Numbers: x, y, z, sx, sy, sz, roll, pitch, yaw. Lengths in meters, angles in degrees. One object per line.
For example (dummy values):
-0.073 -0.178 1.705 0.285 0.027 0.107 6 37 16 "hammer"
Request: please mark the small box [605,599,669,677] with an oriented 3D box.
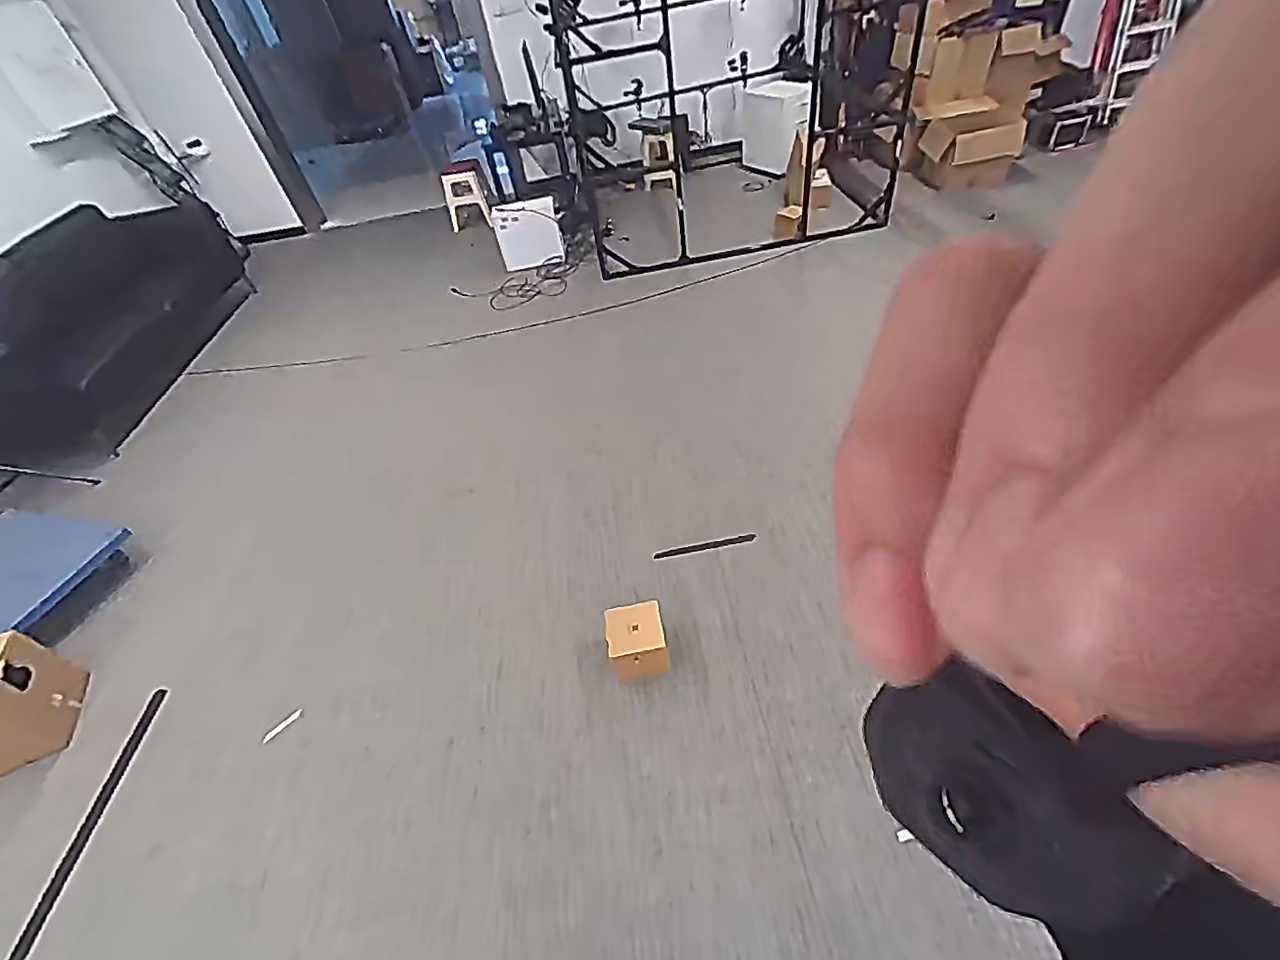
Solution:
-0.006 0.508 1.727 0.179 0.176 0.168 -12 45 1 "small box"
